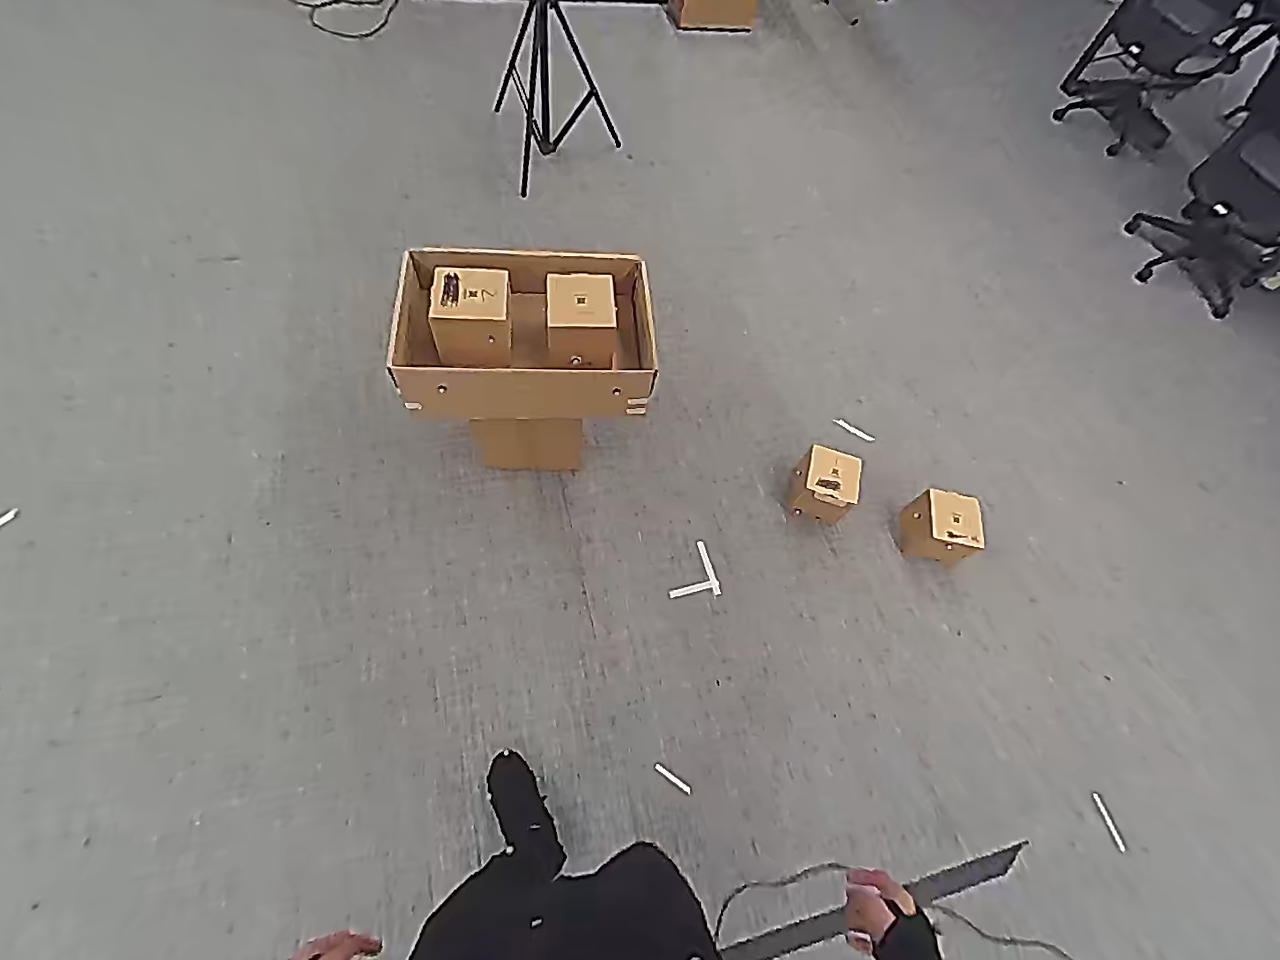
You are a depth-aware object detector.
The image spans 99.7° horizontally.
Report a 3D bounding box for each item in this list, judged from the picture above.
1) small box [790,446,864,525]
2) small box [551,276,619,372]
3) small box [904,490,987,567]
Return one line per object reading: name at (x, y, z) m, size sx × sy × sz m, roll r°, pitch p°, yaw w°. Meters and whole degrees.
small box at (0.601, 0.024, 1.756) m, size 0.168 × 0.176 × 0.179 m, roll 19°, pitch 62°, yaw 2°
small box at (-0.145, -0.401, 1.397) m, size 0.168 × 0.176 × 0.179 m, roll -2°, pitch 62°, yaw -7°
small box at (0.973, 0.160, 1.737) m, size 0.168 × 0.176 × 0.179 m, roll 12°, pitch 61°, yaw -1°
